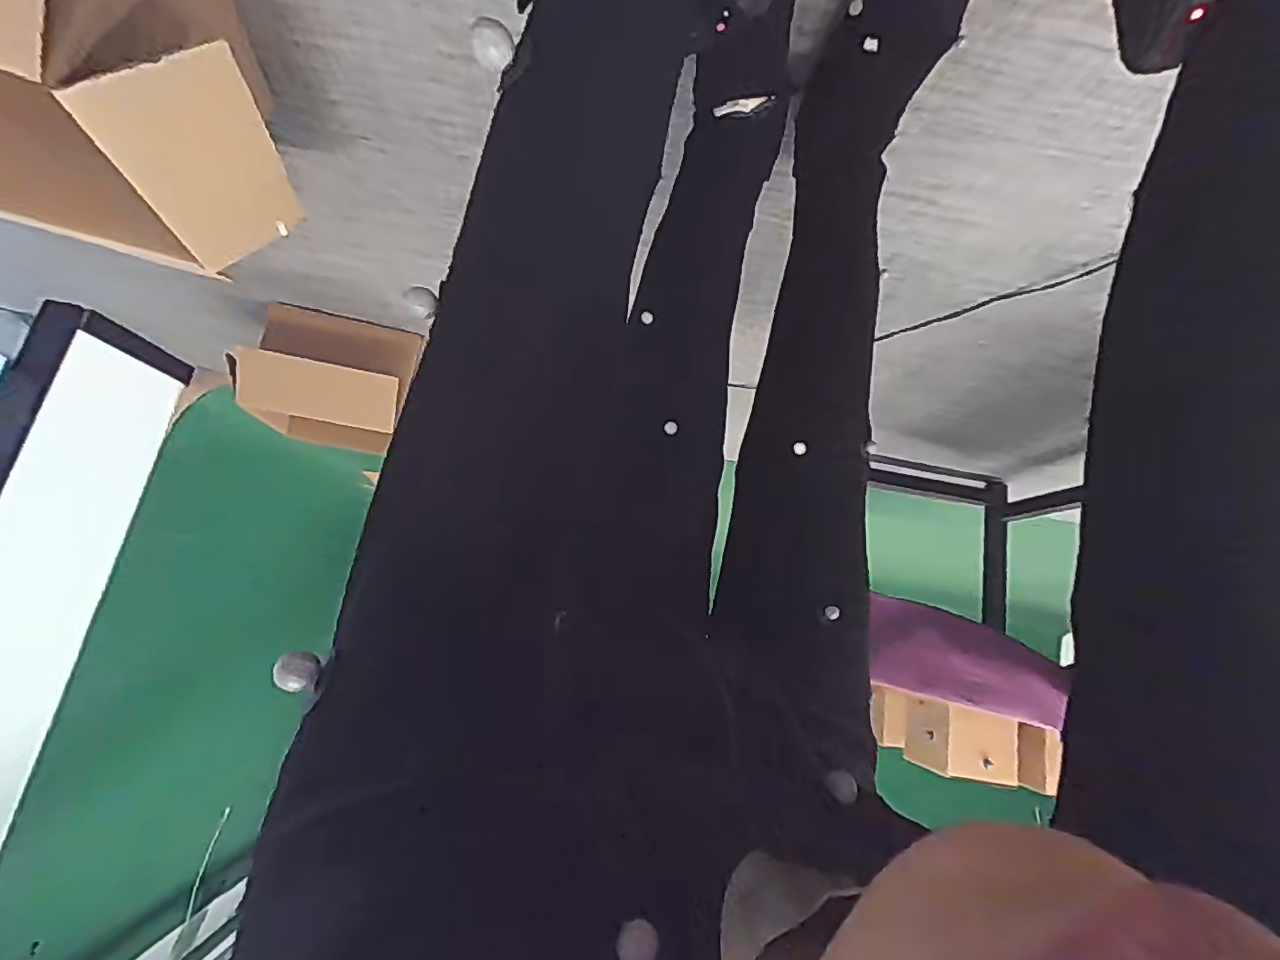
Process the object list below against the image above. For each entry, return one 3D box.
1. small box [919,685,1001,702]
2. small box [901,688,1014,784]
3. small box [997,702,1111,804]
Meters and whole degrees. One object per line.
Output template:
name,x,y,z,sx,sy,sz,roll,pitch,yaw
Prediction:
small box,0.953,0.720,1.608,0.179,0.176,0.168,12,166,-8
small box,0.764,0.610,1.310,0.179,0.176,0.168,12,166,-6
small box,0.985,0.650,1.305,0.179,0.176,0.168,12,166,-4
